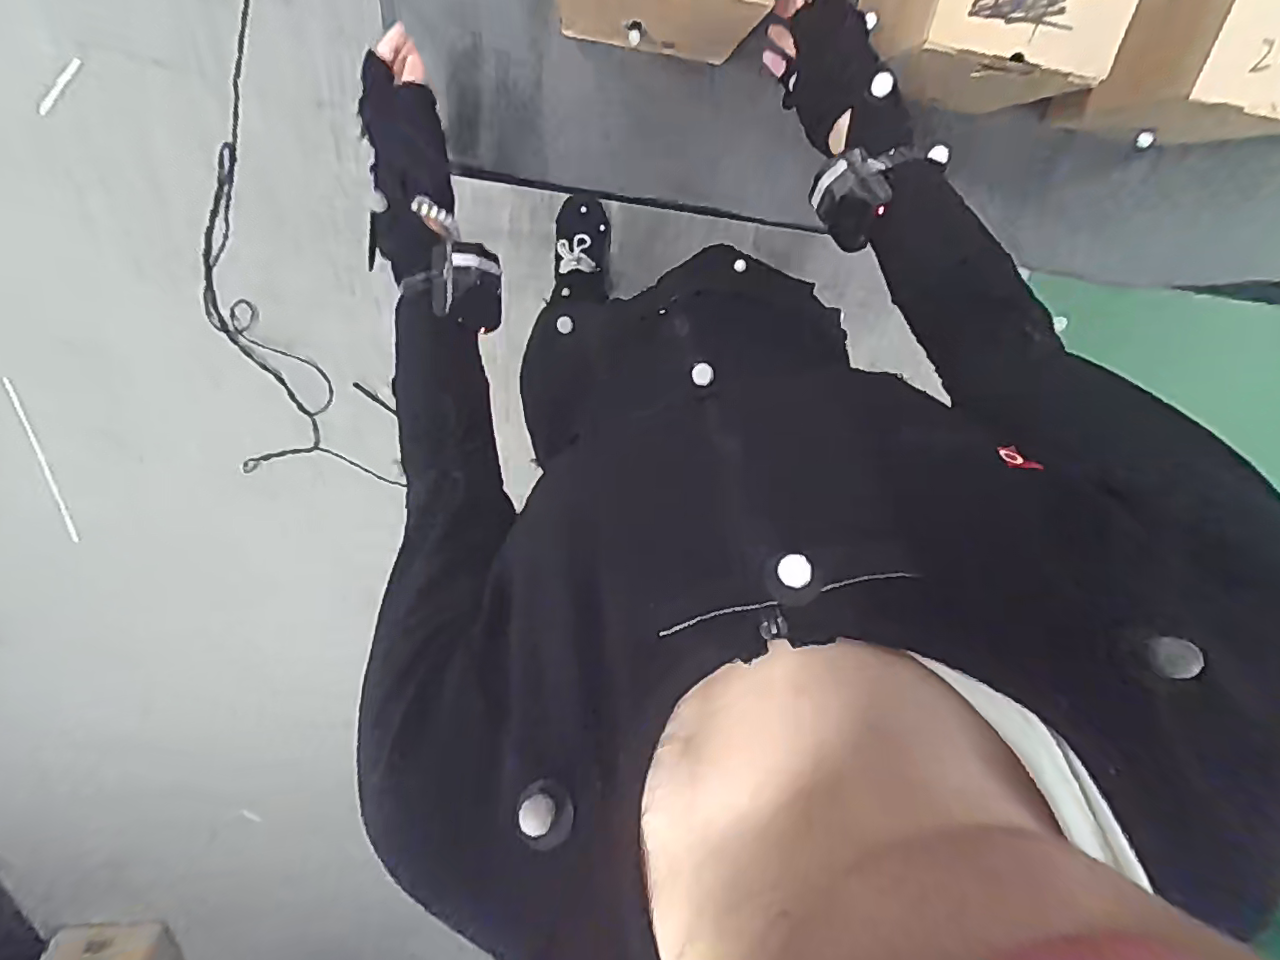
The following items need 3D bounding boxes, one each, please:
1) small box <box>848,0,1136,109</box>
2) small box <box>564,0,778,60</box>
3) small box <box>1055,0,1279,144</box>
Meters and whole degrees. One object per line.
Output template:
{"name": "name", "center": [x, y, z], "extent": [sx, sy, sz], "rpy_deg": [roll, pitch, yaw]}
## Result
{"name": "small box", "center": [0.309, -0.449, 0.474], "extent": [0.168, 0.176, 0.179], "rpy_deg": [5, 116, -9]}
{"name": "small box", "center": [0.024, -0.473, 0.431], "extent": [0.168, 0.176, 0.179], "rpy_deg": [3, 116, -9]}
{"name": "small box", "center": [0.549, -0.435, 0.507], "extent": [0.168, 0.176, 0.179], "rpy_deg": [3, 117, -7]}
